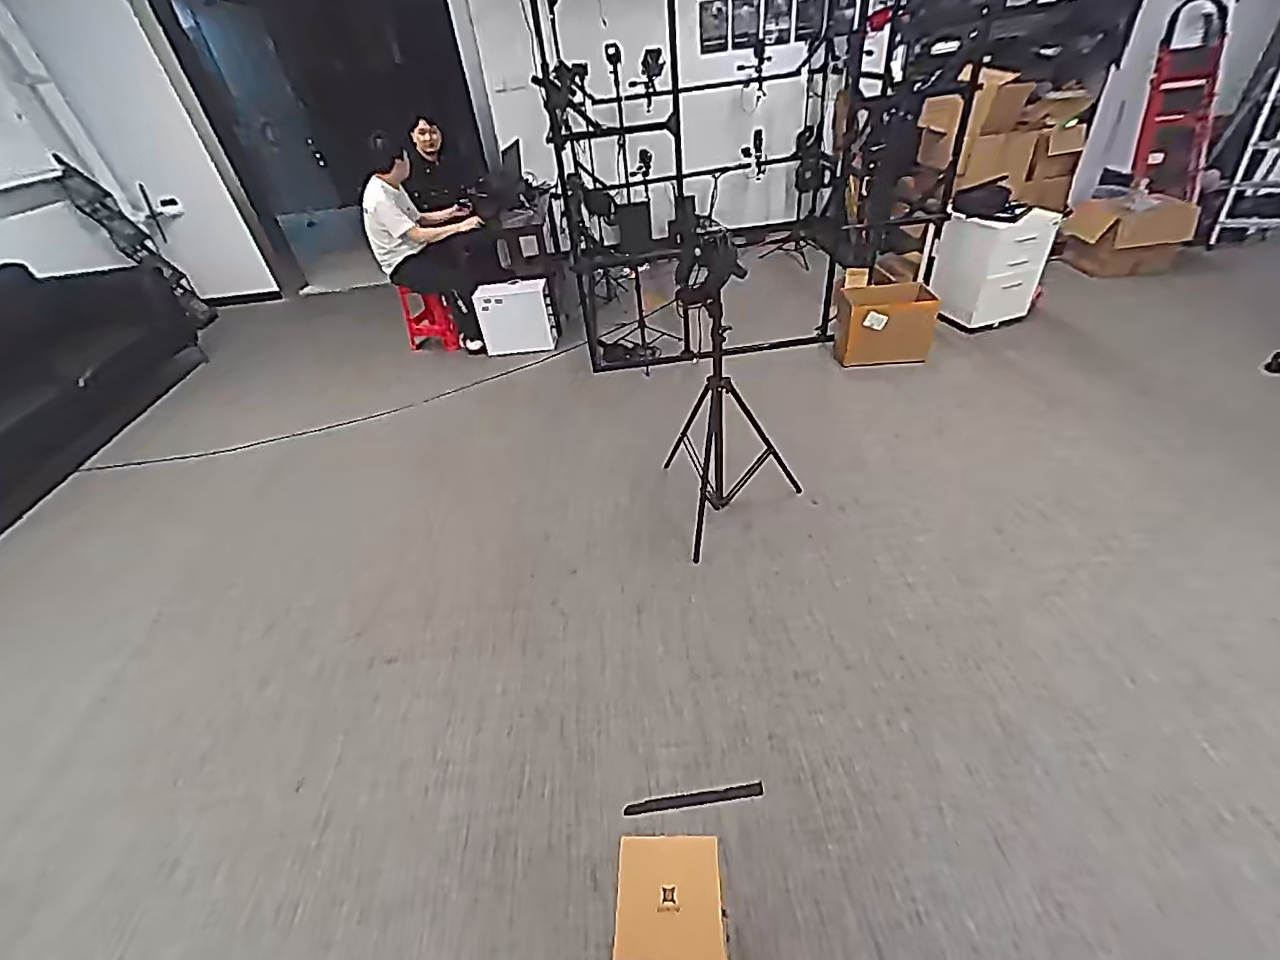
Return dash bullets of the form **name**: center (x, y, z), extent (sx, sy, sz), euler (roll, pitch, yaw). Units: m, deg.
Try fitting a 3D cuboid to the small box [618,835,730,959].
- **small box**: center (0.059, 0.715, 0.890), extent (0.168, 0.176, 0.179), euler (-4, 38, 5)
